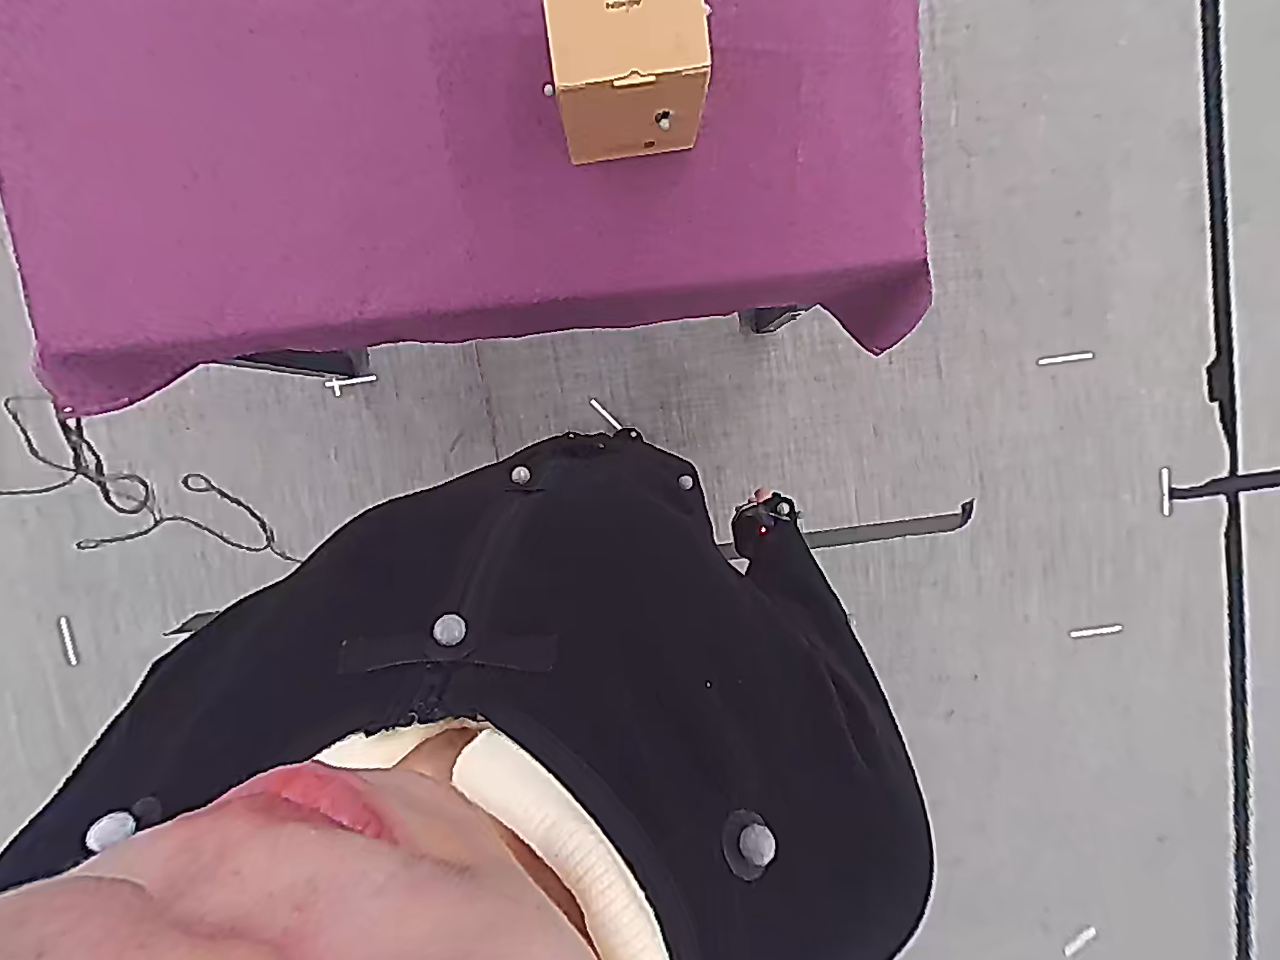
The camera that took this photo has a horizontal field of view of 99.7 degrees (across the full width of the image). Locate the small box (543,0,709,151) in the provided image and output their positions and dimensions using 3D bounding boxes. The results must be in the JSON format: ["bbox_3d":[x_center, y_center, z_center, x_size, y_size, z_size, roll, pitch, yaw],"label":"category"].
[{"bbox_3d":[-0.019,-0.509,0.626,0.168,0.176,0.179,-8,96,-1],"label":"small box"}]
